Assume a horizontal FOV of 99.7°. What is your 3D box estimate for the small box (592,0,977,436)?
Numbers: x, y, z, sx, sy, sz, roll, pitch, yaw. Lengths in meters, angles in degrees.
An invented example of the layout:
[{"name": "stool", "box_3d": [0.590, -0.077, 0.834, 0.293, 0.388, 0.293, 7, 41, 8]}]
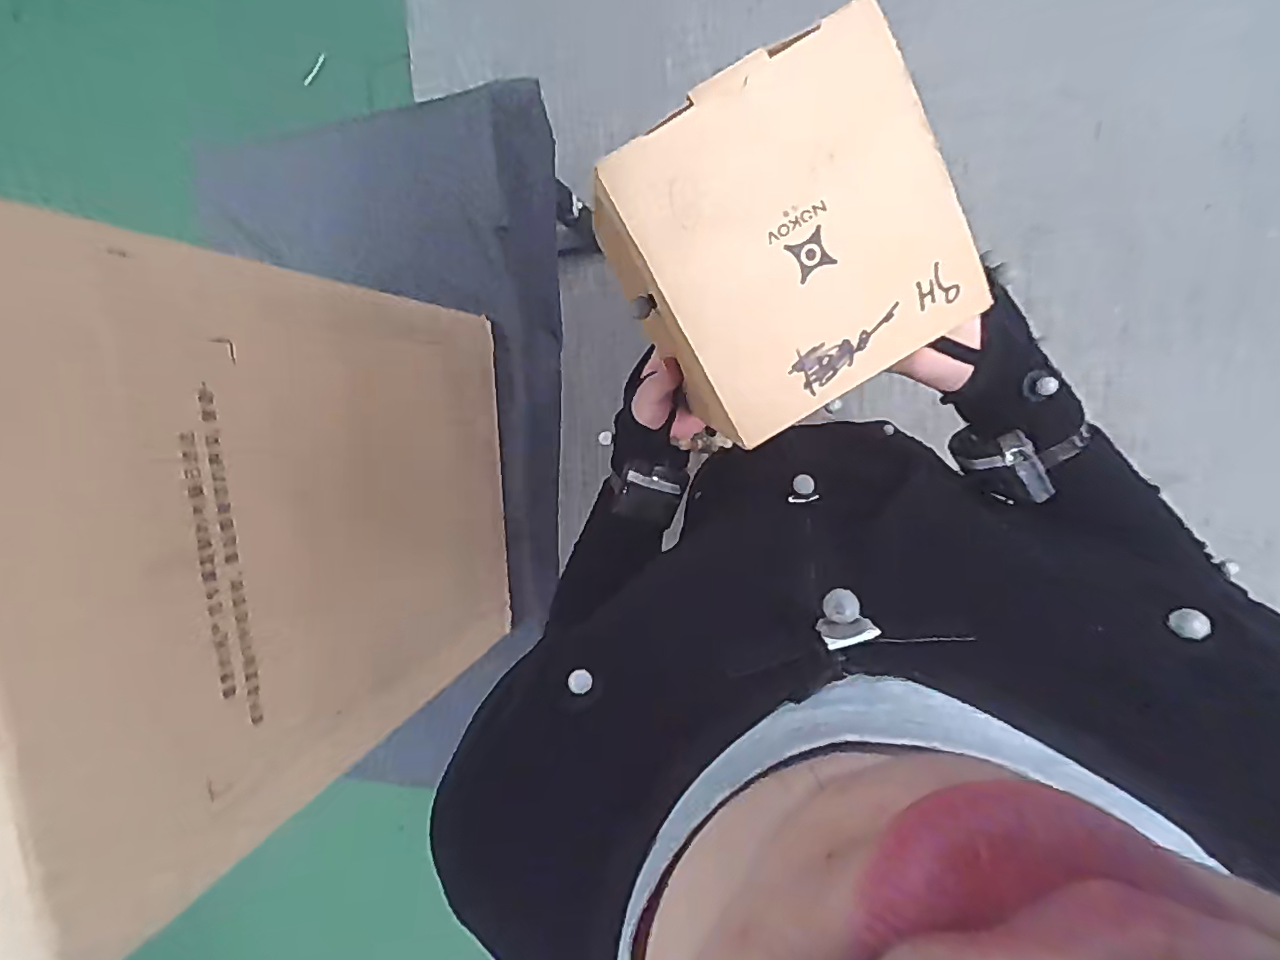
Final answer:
[{"name": "small box", "box_3d": [0.076, -0.151, 0.373, 0.168, 0.176, 0.179, -30, 103, 2]}]
